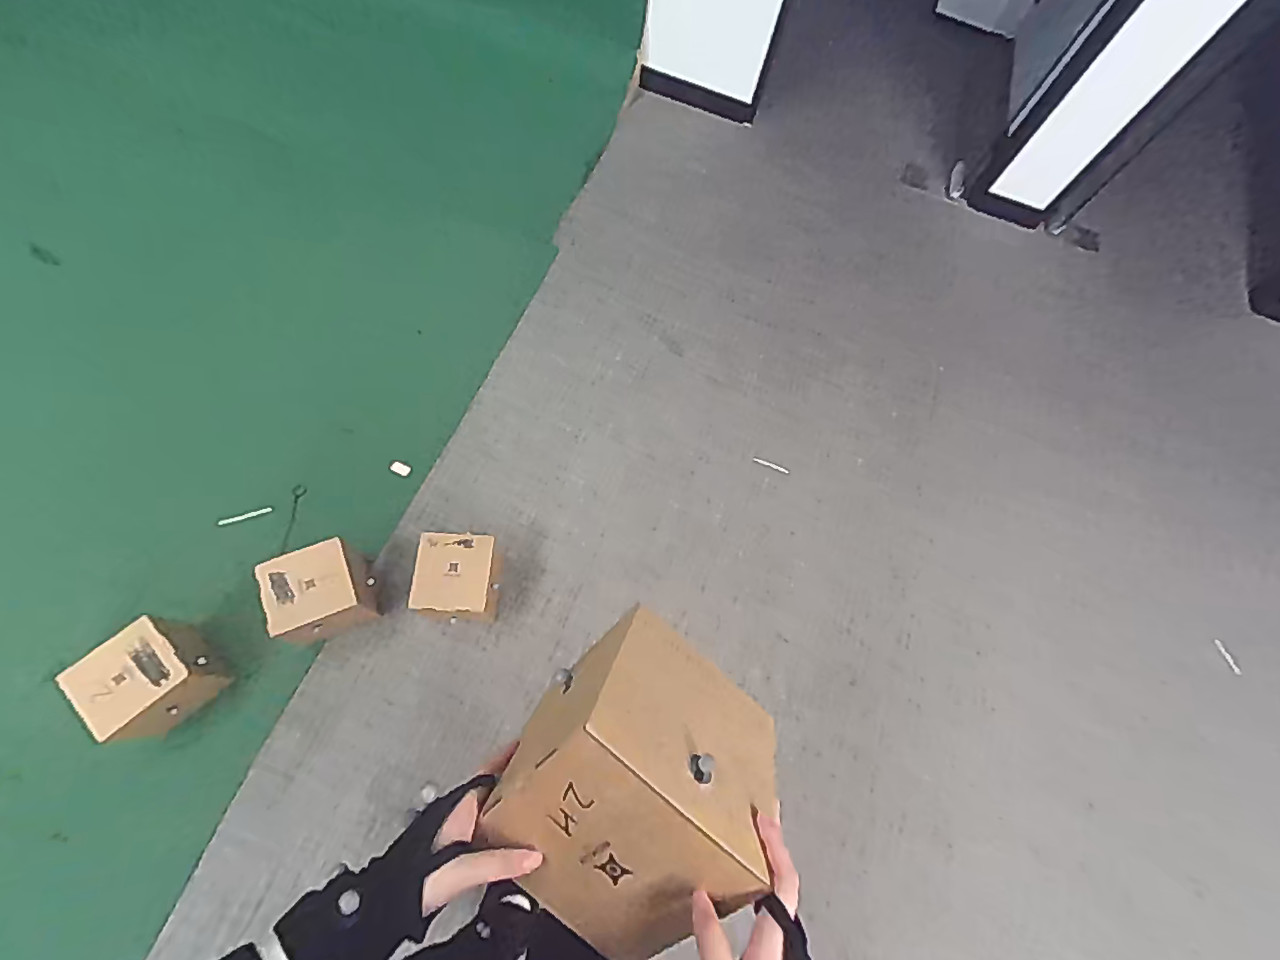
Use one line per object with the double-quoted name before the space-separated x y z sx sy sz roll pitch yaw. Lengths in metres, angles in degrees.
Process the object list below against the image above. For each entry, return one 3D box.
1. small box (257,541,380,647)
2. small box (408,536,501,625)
"small box" -0.723 0.265 1.231 0.179 0.176 0.168 -20 71 -16
"small box" -0.428 0.244 1.280 0.168 0.176 0.179 5 67 -6
